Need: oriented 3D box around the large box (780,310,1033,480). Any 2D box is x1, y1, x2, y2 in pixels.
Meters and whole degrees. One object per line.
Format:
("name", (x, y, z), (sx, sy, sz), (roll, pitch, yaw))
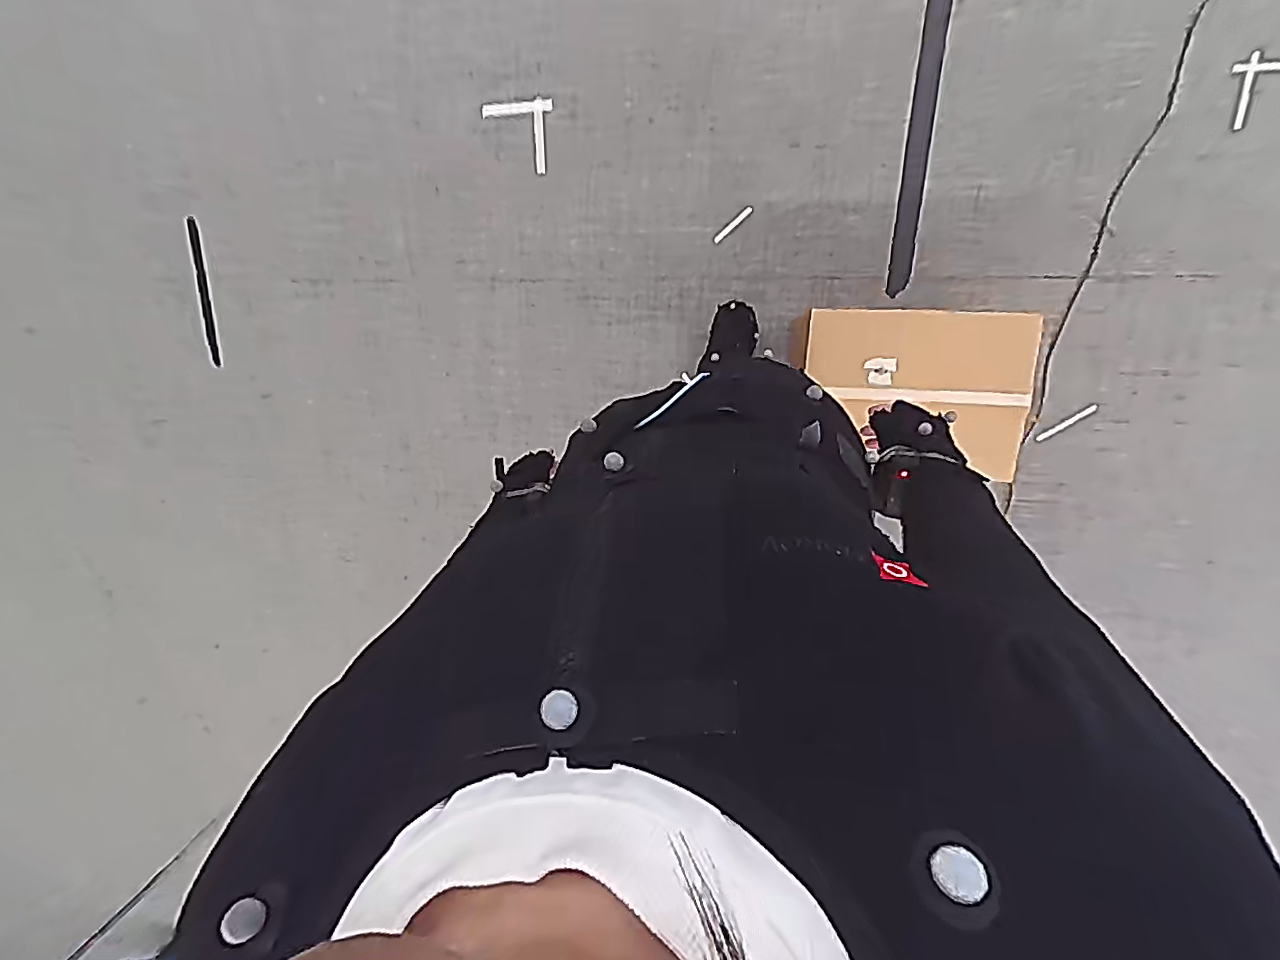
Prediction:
("large box", (0.529, -0.194, 1.167), (0.408, 0.320, 0.320), (4, 103, 9))
